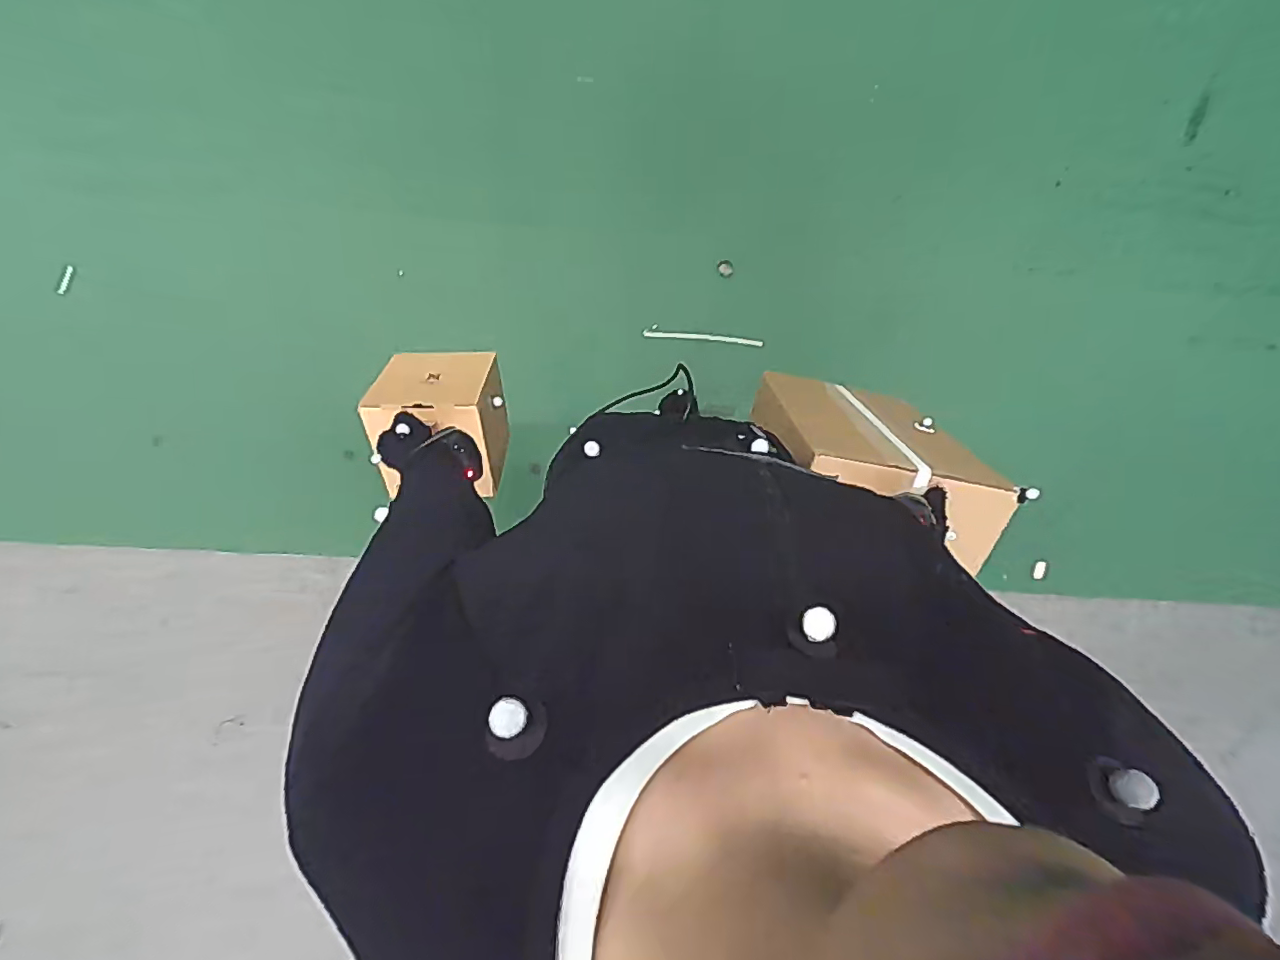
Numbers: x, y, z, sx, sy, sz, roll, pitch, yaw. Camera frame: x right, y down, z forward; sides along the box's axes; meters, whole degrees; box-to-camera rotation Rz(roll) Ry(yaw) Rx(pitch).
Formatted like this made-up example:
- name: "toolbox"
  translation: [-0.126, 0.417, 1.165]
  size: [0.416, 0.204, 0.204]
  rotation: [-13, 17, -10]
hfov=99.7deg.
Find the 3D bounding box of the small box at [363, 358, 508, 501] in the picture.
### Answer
- name: "small box"
  translation: [-0.314, -0.083, 0.876]
  size: [0.168, 0.179, 0.176]
  rotation: [-2, 128, -3]
